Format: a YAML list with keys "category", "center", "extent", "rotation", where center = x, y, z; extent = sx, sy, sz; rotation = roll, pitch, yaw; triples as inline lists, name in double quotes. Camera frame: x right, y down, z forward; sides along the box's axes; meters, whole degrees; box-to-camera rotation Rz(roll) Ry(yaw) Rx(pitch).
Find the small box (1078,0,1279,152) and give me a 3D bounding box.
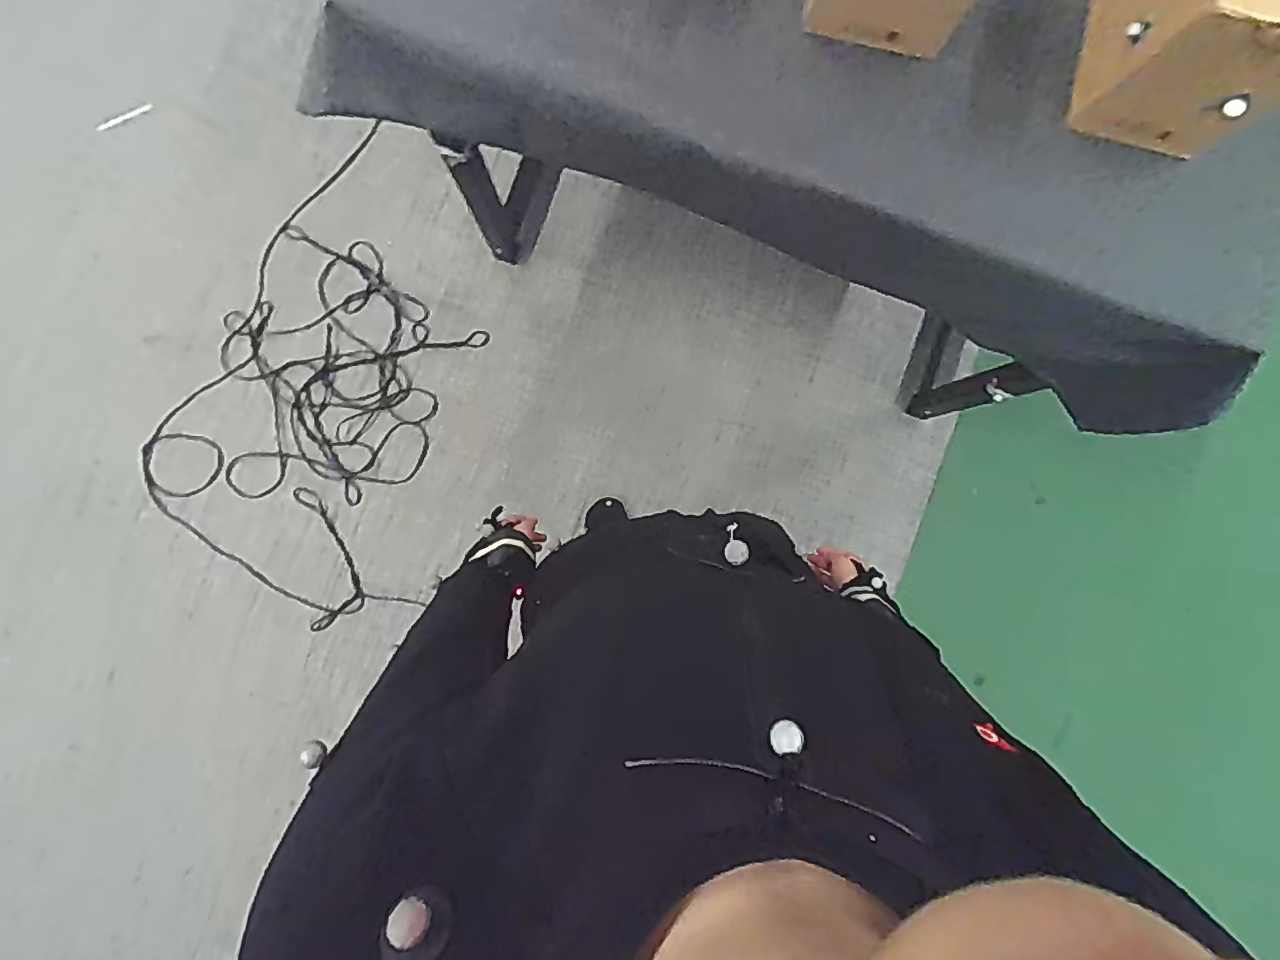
- category: "small box"
  center: [0.624, -0.498, 0.581]
  extent: [0.168, 0.176, 0.179]
  rotation: [13, 87, -3]
